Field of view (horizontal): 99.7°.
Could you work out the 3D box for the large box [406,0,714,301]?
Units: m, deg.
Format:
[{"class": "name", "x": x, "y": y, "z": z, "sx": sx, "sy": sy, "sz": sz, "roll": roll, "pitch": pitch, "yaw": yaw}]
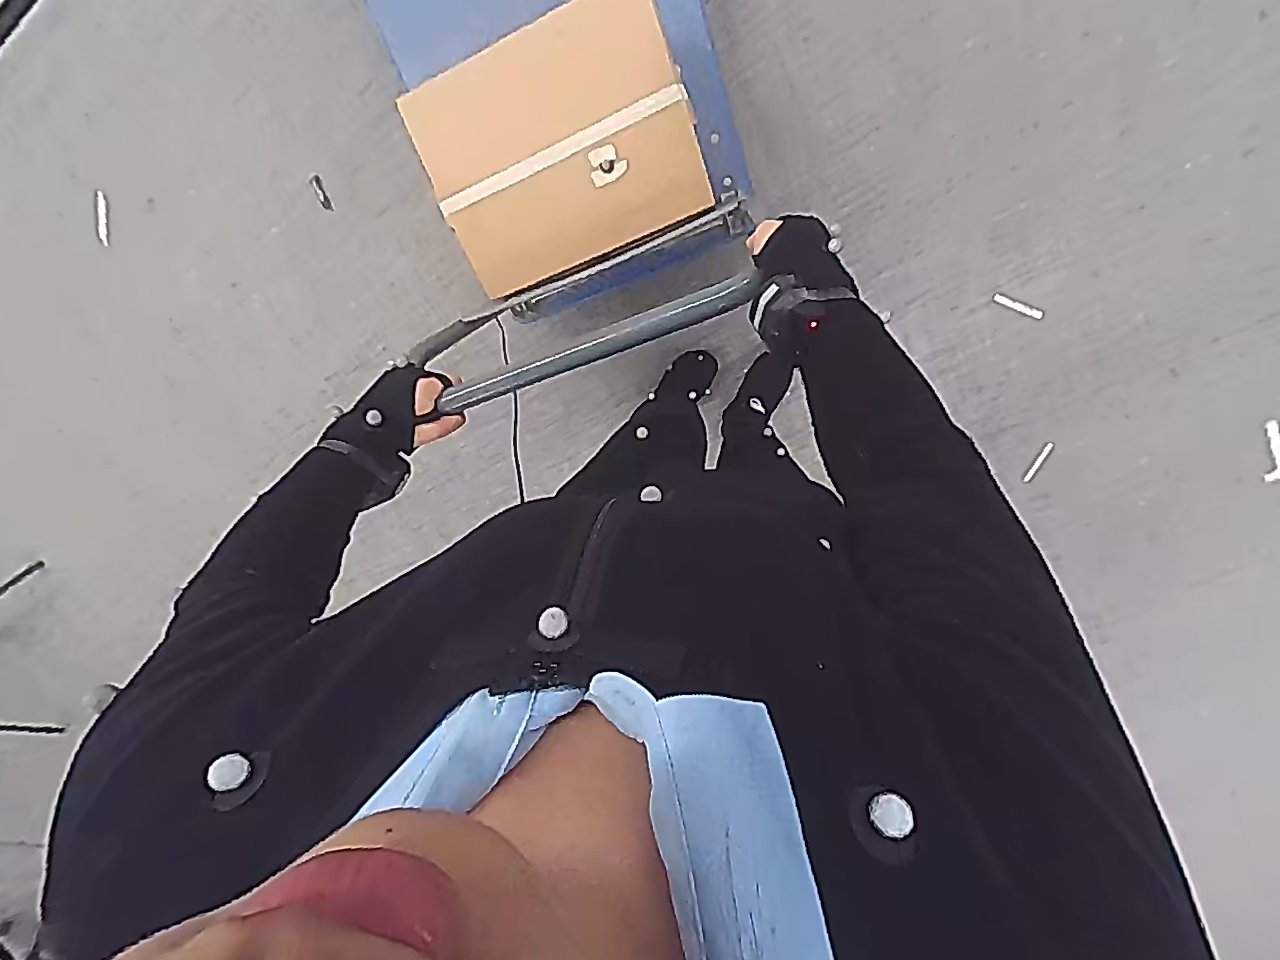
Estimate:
[{"class": "large box", "x": -0.109, "y": -0.554, "z": 0.962, "sx": 0.408, "sy": 0.320, "sz": 0.320, "roll": -18, "pitch": 112, "yaw": 13}]
